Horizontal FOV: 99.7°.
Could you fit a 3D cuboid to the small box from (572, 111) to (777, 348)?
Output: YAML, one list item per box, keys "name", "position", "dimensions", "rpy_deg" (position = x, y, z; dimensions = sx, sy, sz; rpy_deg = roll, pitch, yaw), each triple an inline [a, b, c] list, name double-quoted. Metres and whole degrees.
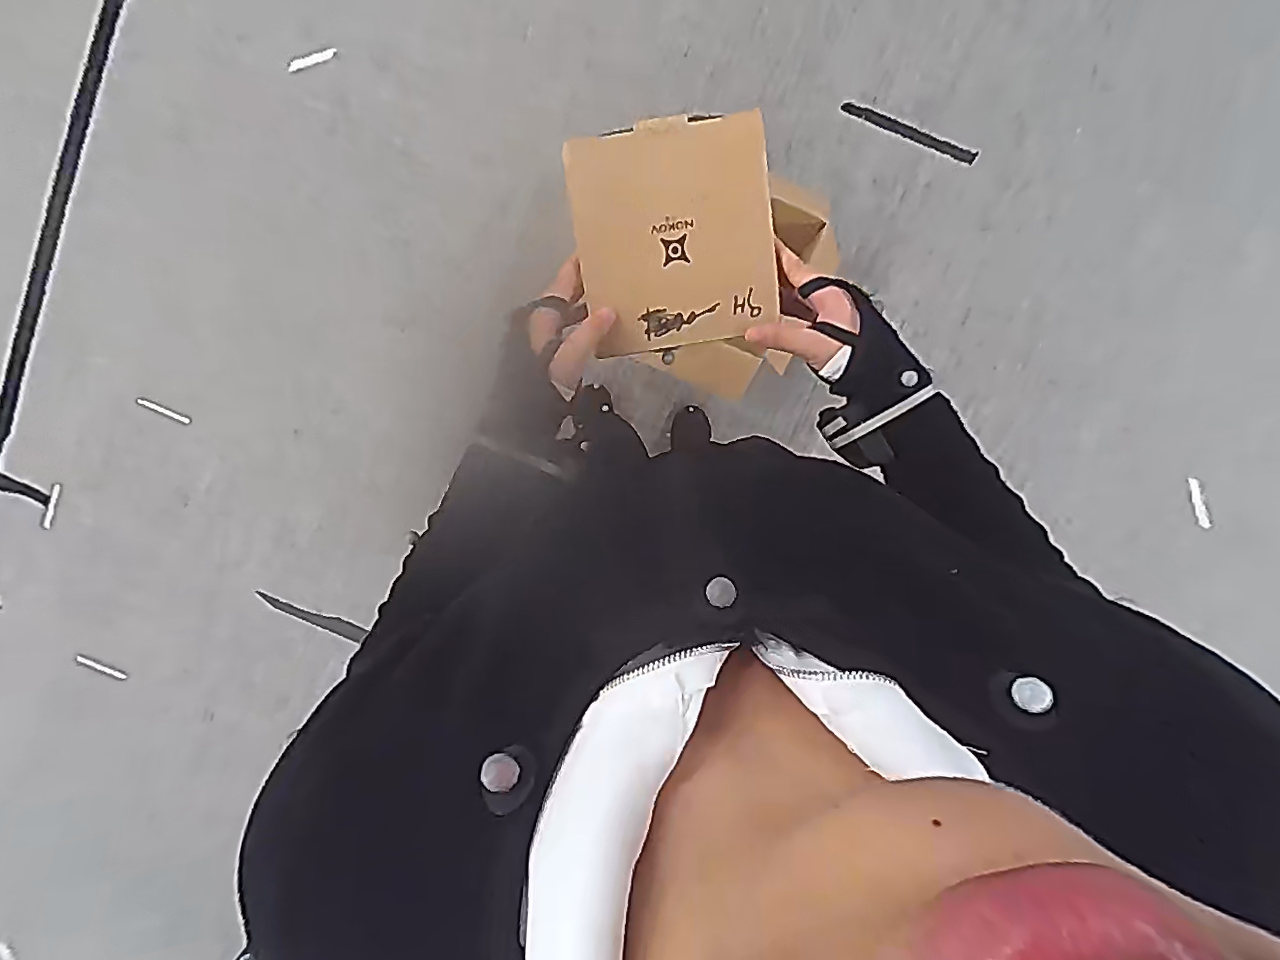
- name: "small box"
  position: [0.031, -0.229, 0.541]
  dimensions: [0.168, 0.176, 0.179]
  rpy_deg: [-7, 105, 2]
